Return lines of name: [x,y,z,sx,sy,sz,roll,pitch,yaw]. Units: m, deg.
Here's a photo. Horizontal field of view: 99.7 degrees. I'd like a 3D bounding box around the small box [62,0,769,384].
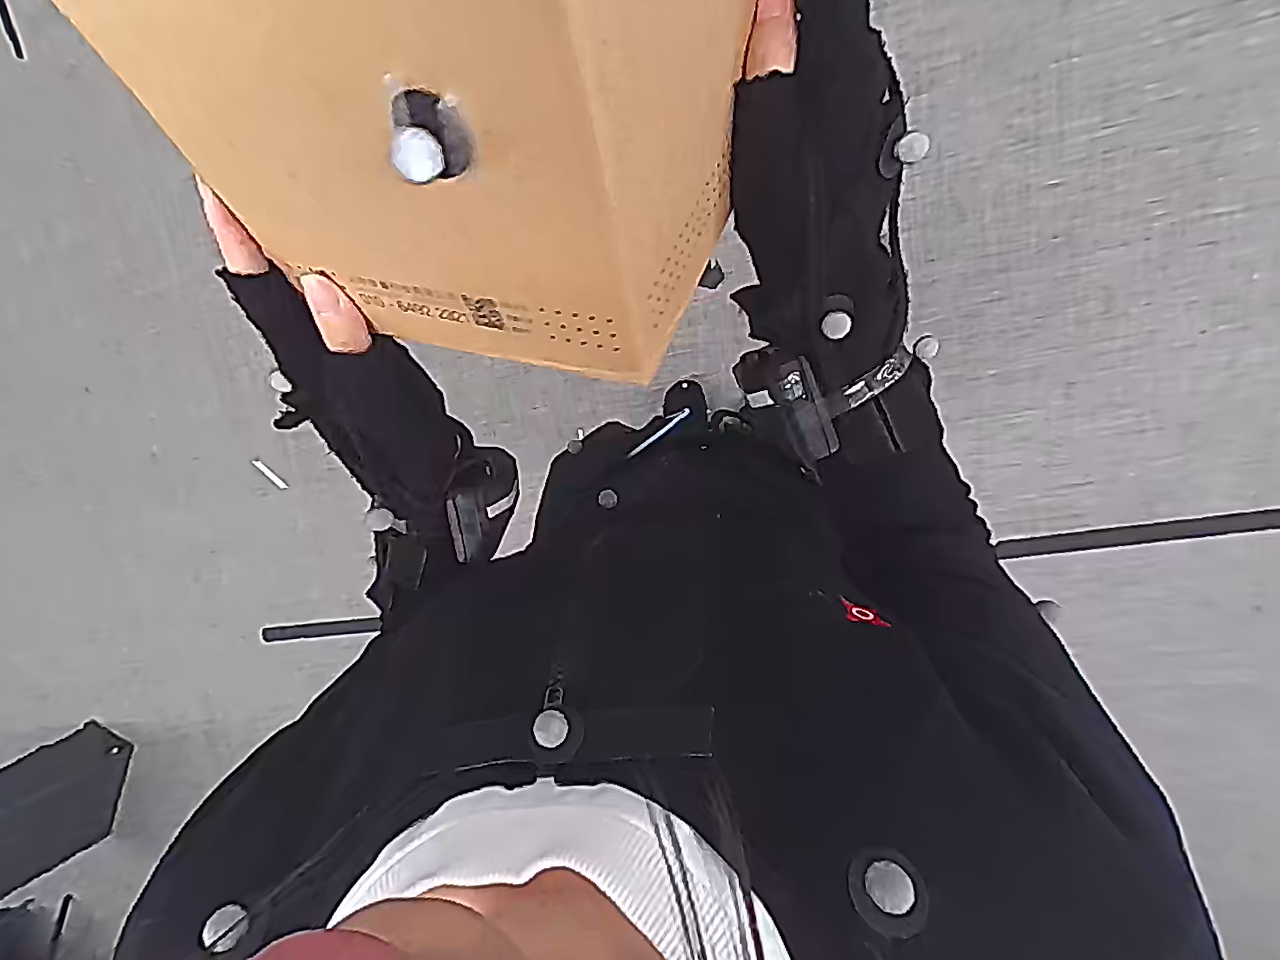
small box: [-0.052,-0.162,0.200,0.168,0.176,0.179,17,64,19]
